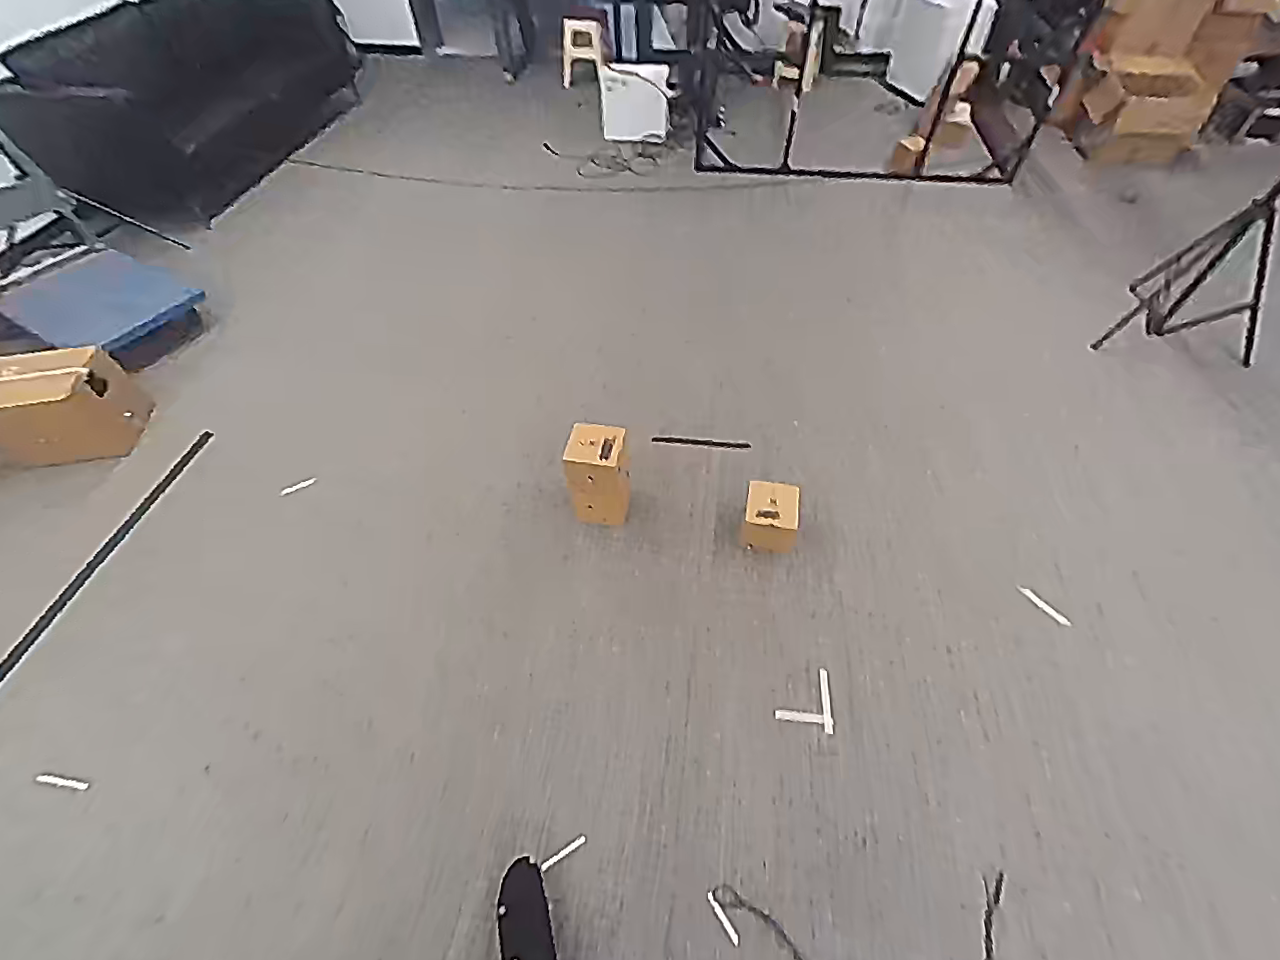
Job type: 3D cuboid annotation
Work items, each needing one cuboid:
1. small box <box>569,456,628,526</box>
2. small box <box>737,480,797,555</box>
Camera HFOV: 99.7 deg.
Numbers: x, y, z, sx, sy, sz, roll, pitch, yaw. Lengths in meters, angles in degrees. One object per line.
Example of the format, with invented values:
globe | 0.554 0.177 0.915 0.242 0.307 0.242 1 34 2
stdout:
small box | -0.138 0.040 1.896 0.168 0.176 0.179 7 52 7
small box | 0.423 0.129 1.811 0.168 0.176 0.179 9 52 8
